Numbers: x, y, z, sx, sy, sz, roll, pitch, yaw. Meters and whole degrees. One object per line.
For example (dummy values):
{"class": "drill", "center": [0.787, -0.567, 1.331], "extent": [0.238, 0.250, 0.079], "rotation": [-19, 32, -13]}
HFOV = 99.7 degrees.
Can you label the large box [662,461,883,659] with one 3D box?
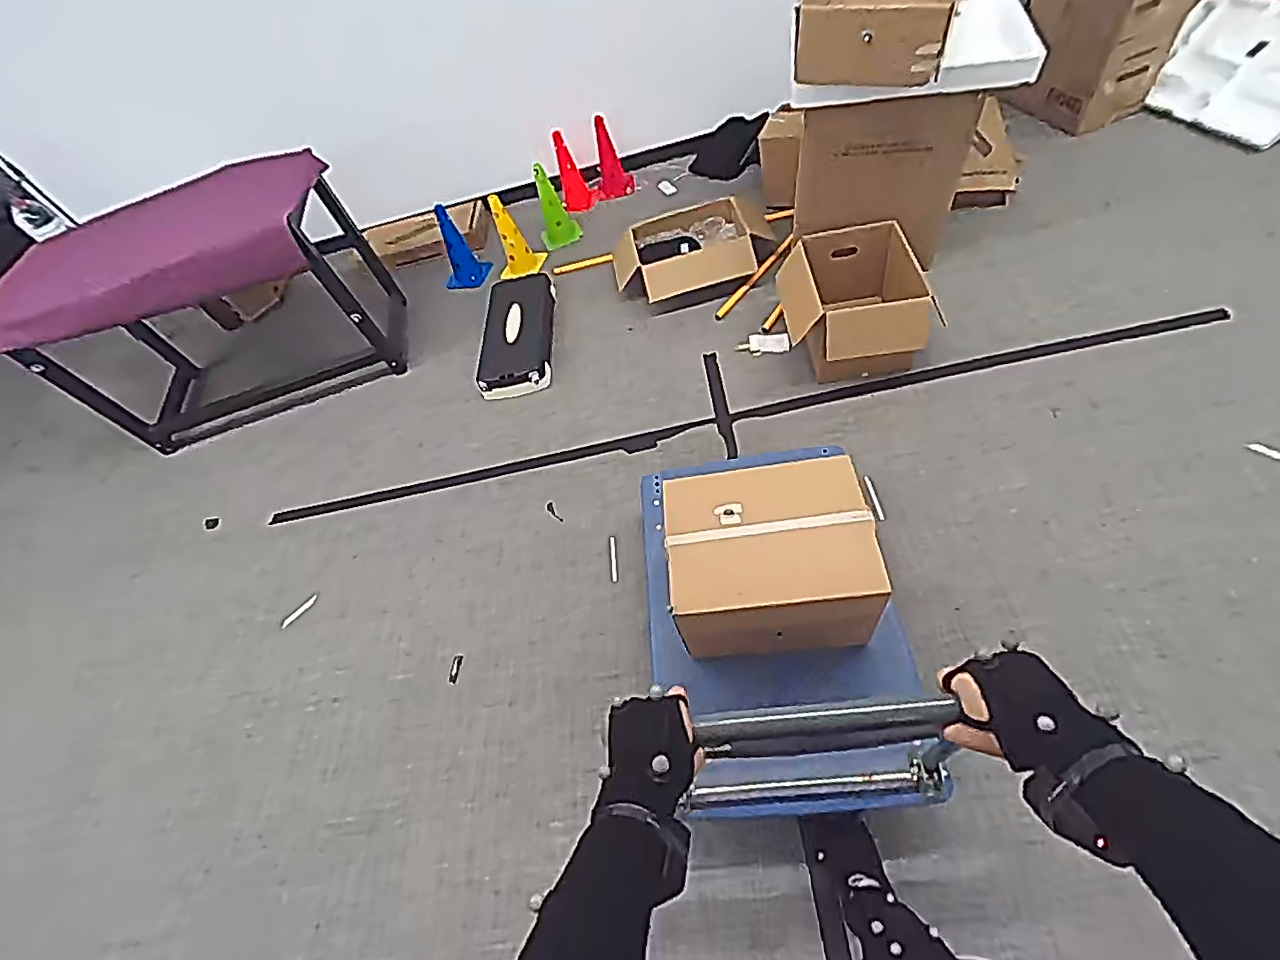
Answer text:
{"class": "large box", "center": [0.284, 0.197, 1.230], "extent": [0.408, 0.320, 0.320], "rotation": [-9, 54, 9]}
